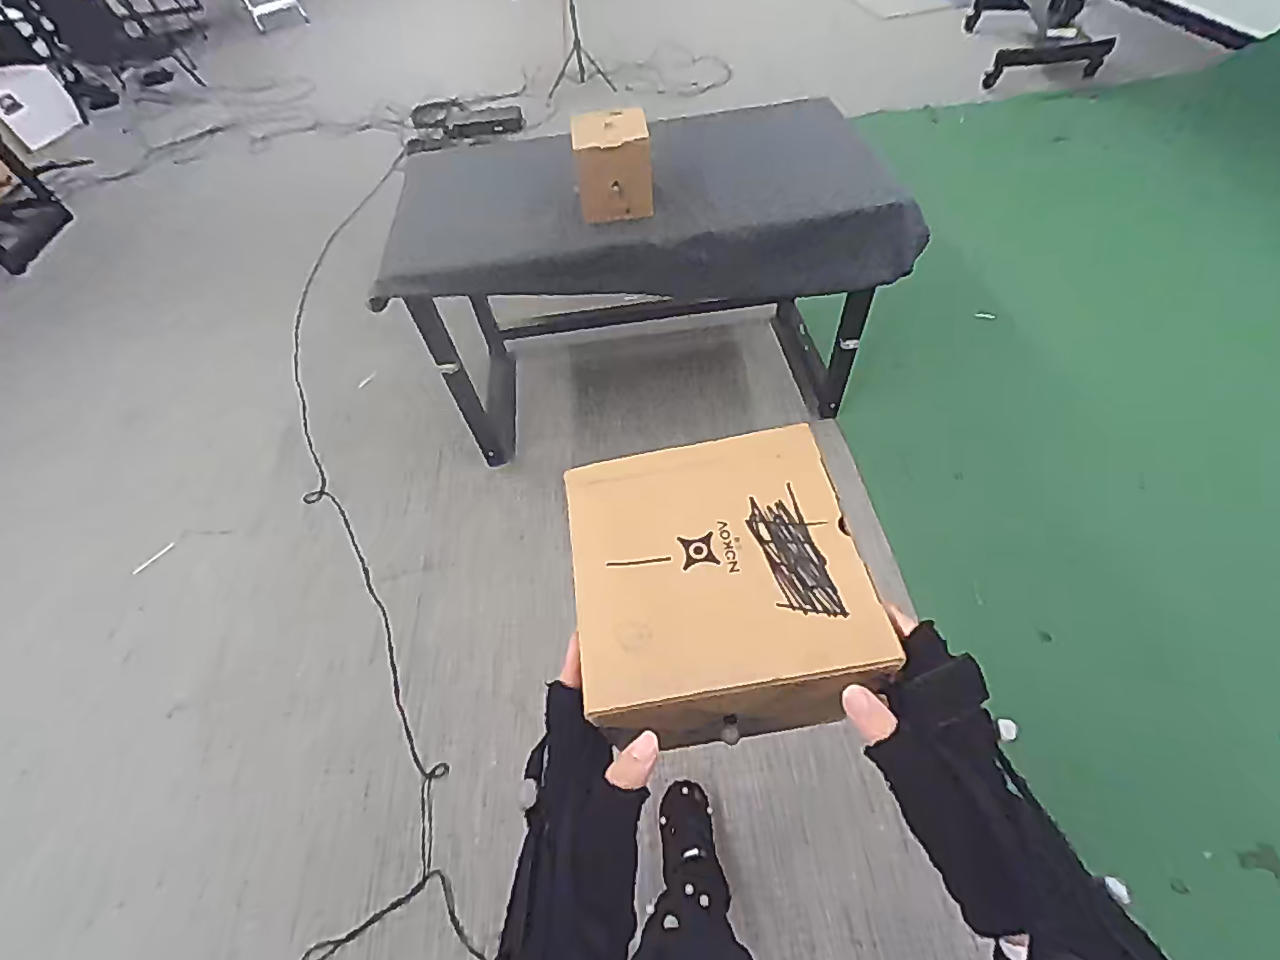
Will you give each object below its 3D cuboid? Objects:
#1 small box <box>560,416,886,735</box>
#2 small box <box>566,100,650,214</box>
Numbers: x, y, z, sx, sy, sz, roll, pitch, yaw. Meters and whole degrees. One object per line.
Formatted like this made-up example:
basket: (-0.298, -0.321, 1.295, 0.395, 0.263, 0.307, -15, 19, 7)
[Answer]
small box: (0.048, 0.080, 0.404, 0.179, 0.176, 0.168, -11, 56, 2)
small box: (-0.071, -0.730, 1.239, 0.168, 0.176, 0.179, -8, 55, 1)
